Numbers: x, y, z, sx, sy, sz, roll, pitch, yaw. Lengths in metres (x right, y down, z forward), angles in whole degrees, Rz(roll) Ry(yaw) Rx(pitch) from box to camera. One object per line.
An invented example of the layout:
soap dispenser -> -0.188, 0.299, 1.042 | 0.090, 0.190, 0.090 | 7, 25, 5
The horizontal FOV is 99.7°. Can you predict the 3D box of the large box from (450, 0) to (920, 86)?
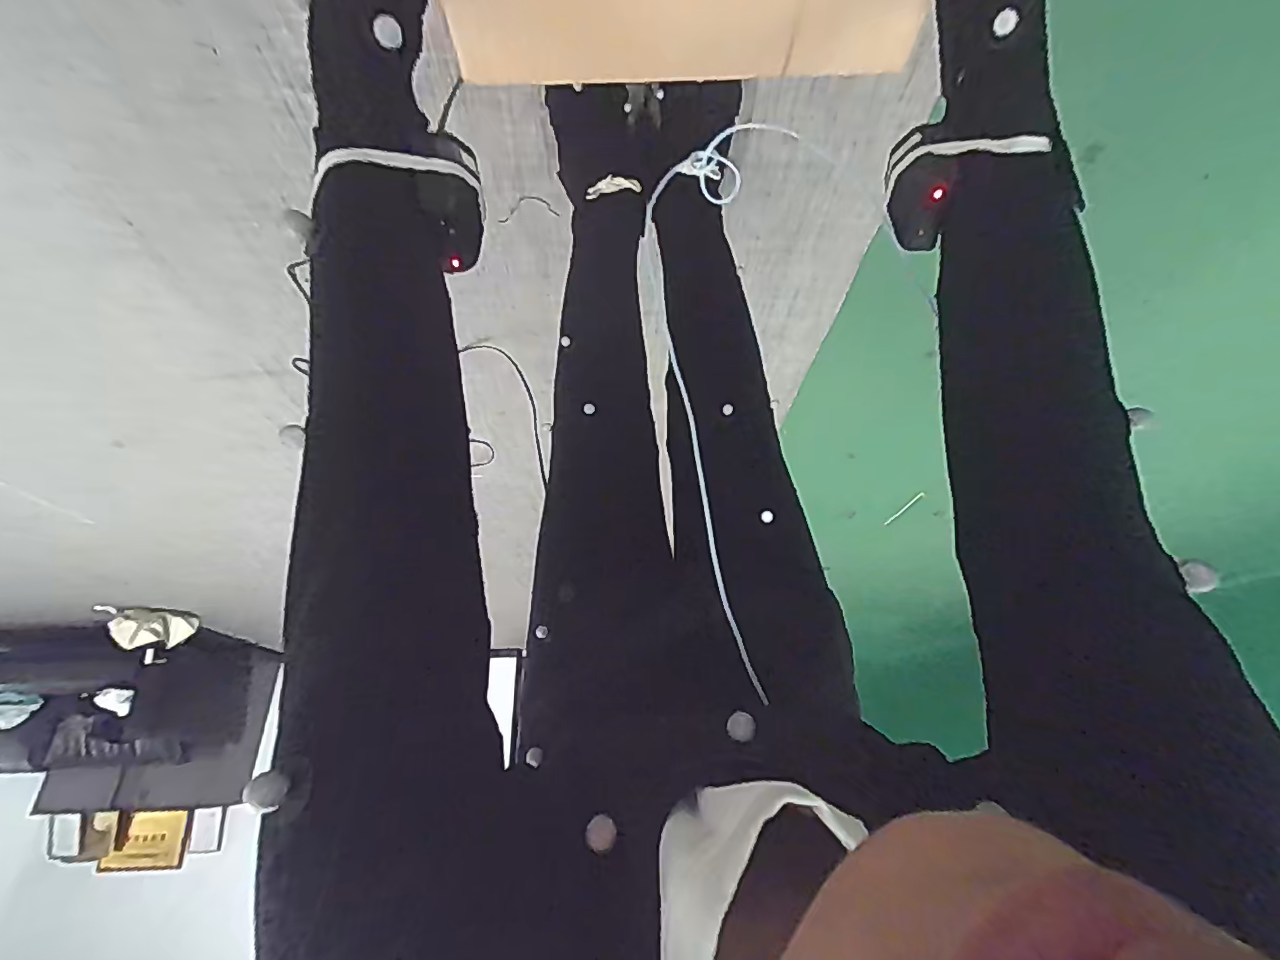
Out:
large box -> 0.029, -0.576, 0.429 | 0.408, 0.320, 0.320 | -4, 155, -1
